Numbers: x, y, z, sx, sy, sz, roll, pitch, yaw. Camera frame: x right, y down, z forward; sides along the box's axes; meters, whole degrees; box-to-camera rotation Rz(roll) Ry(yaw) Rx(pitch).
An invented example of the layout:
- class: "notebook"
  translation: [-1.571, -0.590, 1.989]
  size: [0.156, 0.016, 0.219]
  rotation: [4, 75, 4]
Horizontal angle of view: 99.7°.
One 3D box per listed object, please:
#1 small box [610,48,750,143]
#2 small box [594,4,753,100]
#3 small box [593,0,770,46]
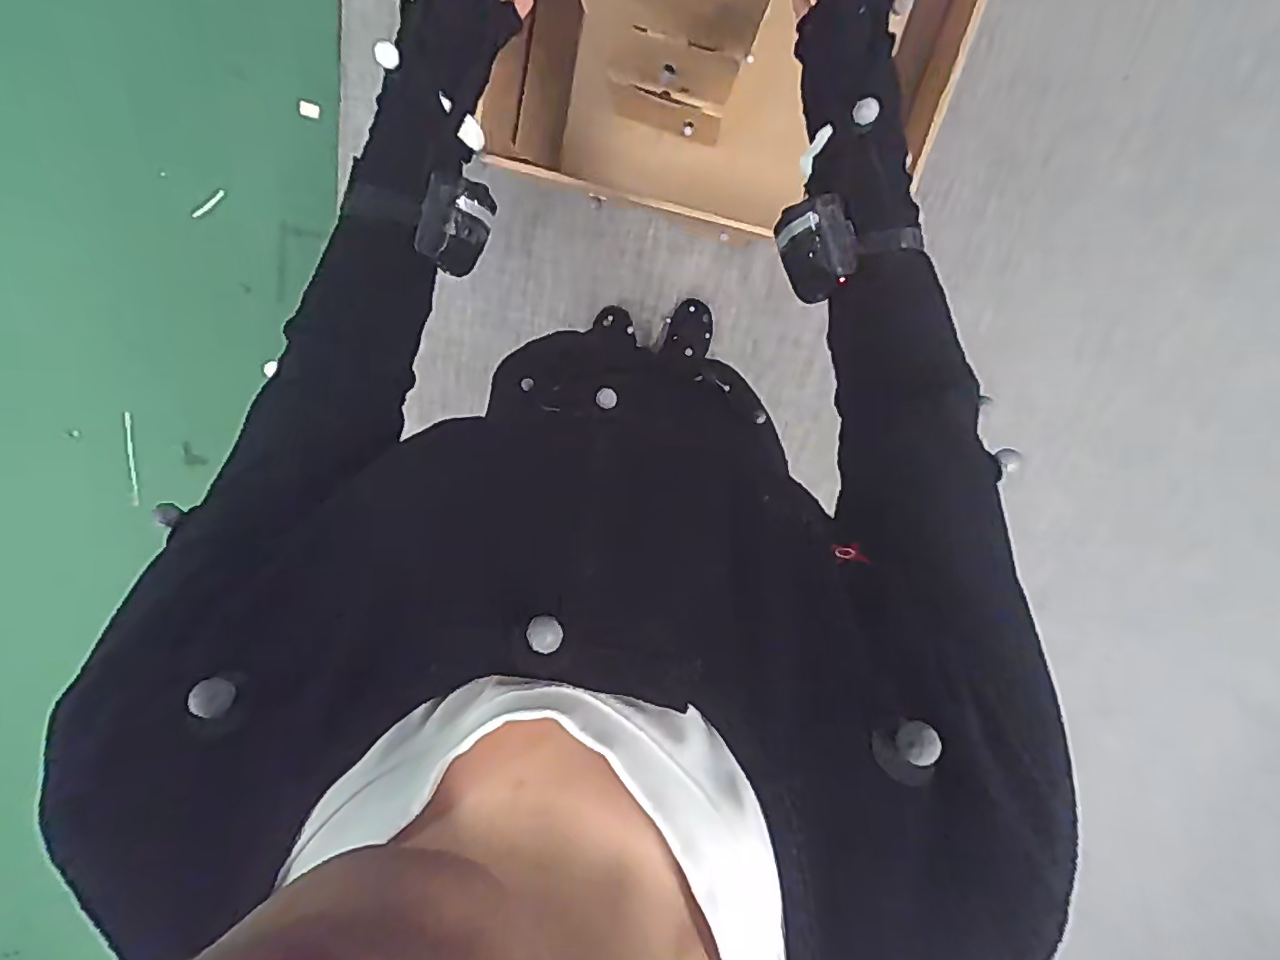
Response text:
- class: "small box"
  translation: [0.067, -0.605, 0.756]
  size: [0.168, 0.176, 0.179]
  rotation: [16, 108, -2]
- class: "small box"
  translation: [0.059, -0.559, 0.599]
  size: [0.168, 0.176, 0.179]
  rotation: [16, 111, -2]
- class: "small box"
  translation: [0.046, -0.501, 0.444]
  size: [0.179, 0.176, 0.168]
  rotation: [13, 110, -2]
